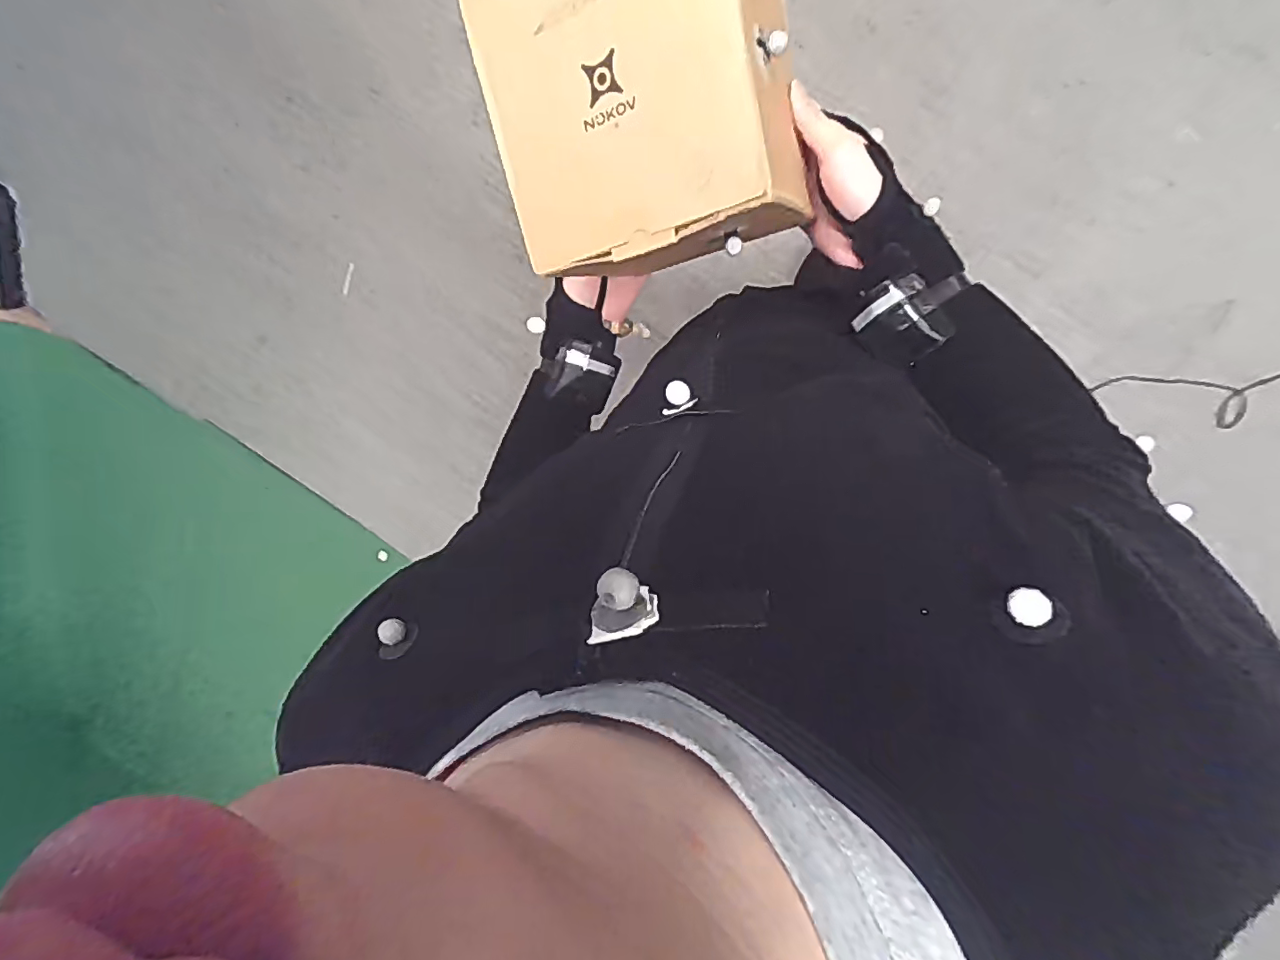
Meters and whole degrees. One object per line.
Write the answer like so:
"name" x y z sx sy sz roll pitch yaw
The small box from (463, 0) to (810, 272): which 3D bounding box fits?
"small box" 0.014 -0.257 0.379 0.168 0.176 0.179 -6 105 28
